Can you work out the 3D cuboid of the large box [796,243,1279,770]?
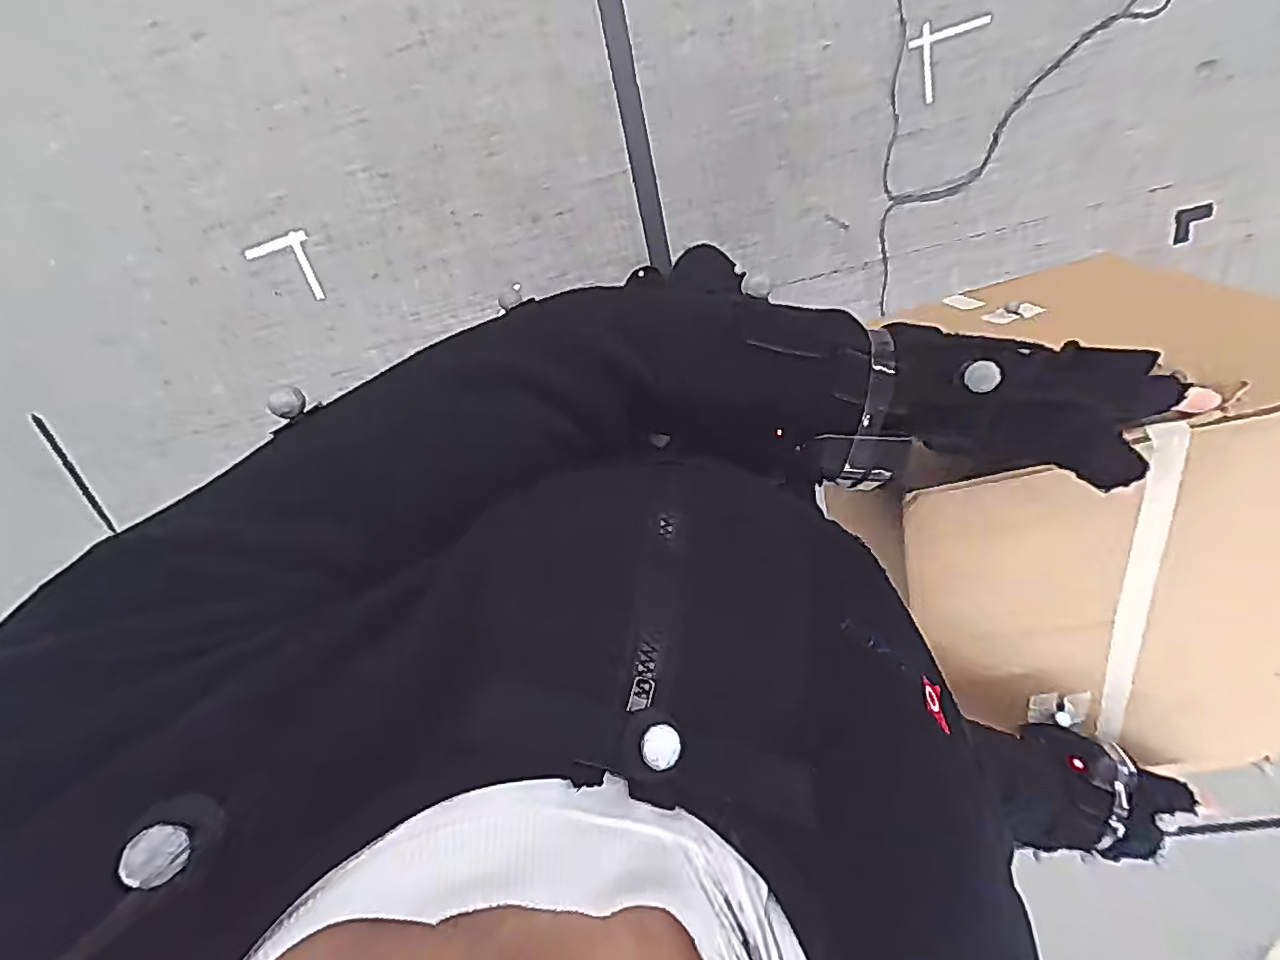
[{"bbox_3d":[0.380,0.027,0.566,0.320,0.320,0.408,-14,121,11],"label":"large box"}]
